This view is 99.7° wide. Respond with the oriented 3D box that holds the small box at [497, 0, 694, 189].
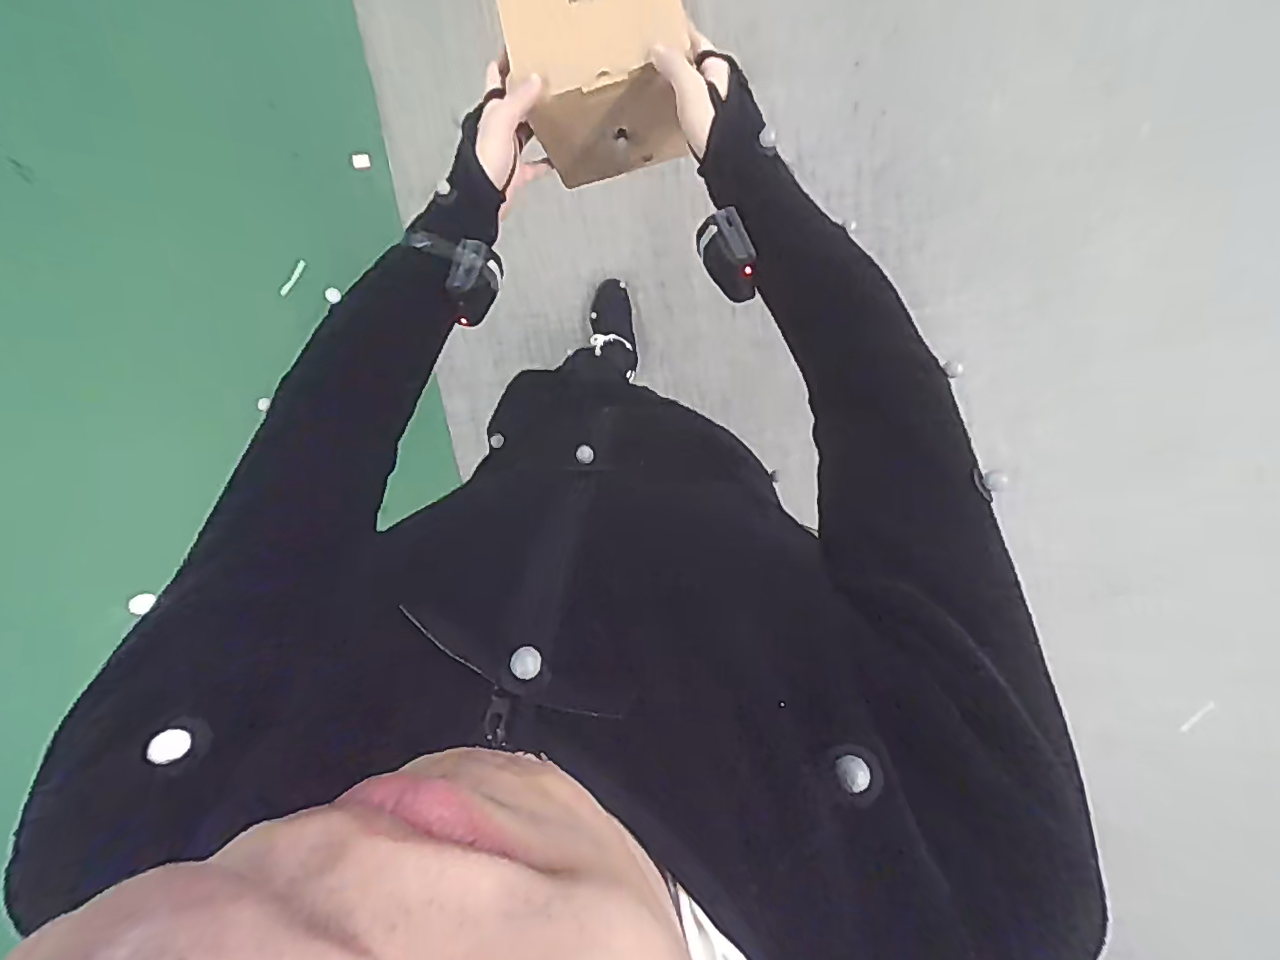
[{"bbox_3d":[-0.039,-0.442,0.579,0.168,0.176,0.179,-12,92,8],"label":"small box"}]
